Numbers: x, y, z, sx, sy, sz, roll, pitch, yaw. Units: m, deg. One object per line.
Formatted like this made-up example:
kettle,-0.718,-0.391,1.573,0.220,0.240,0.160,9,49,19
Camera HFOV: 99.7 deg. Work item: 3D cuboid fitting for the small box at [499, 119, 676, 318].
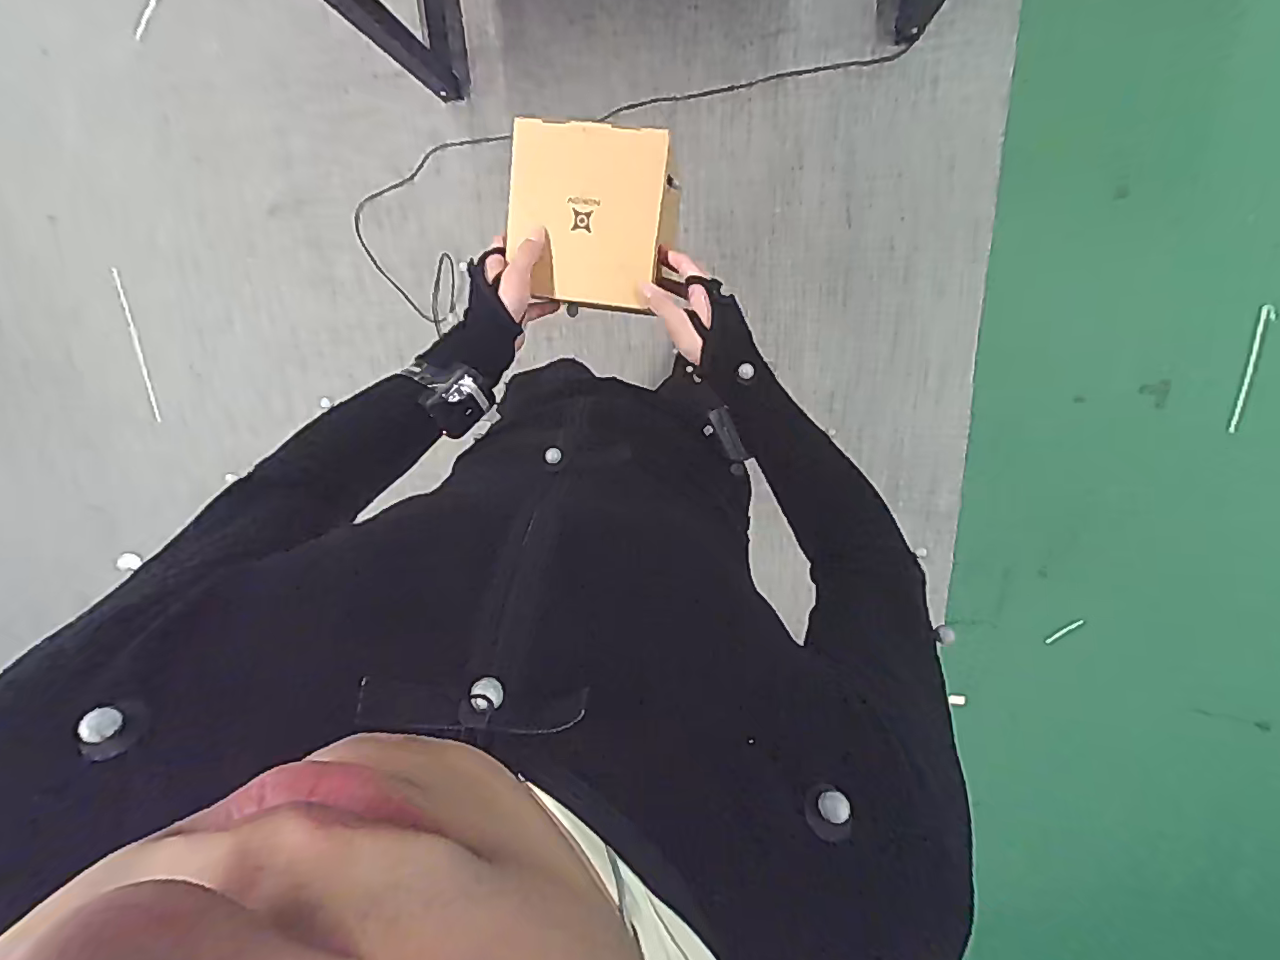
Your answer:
small box,-0.053,-0.293,0.641,0.168,0.176,0.179,9,104,7
